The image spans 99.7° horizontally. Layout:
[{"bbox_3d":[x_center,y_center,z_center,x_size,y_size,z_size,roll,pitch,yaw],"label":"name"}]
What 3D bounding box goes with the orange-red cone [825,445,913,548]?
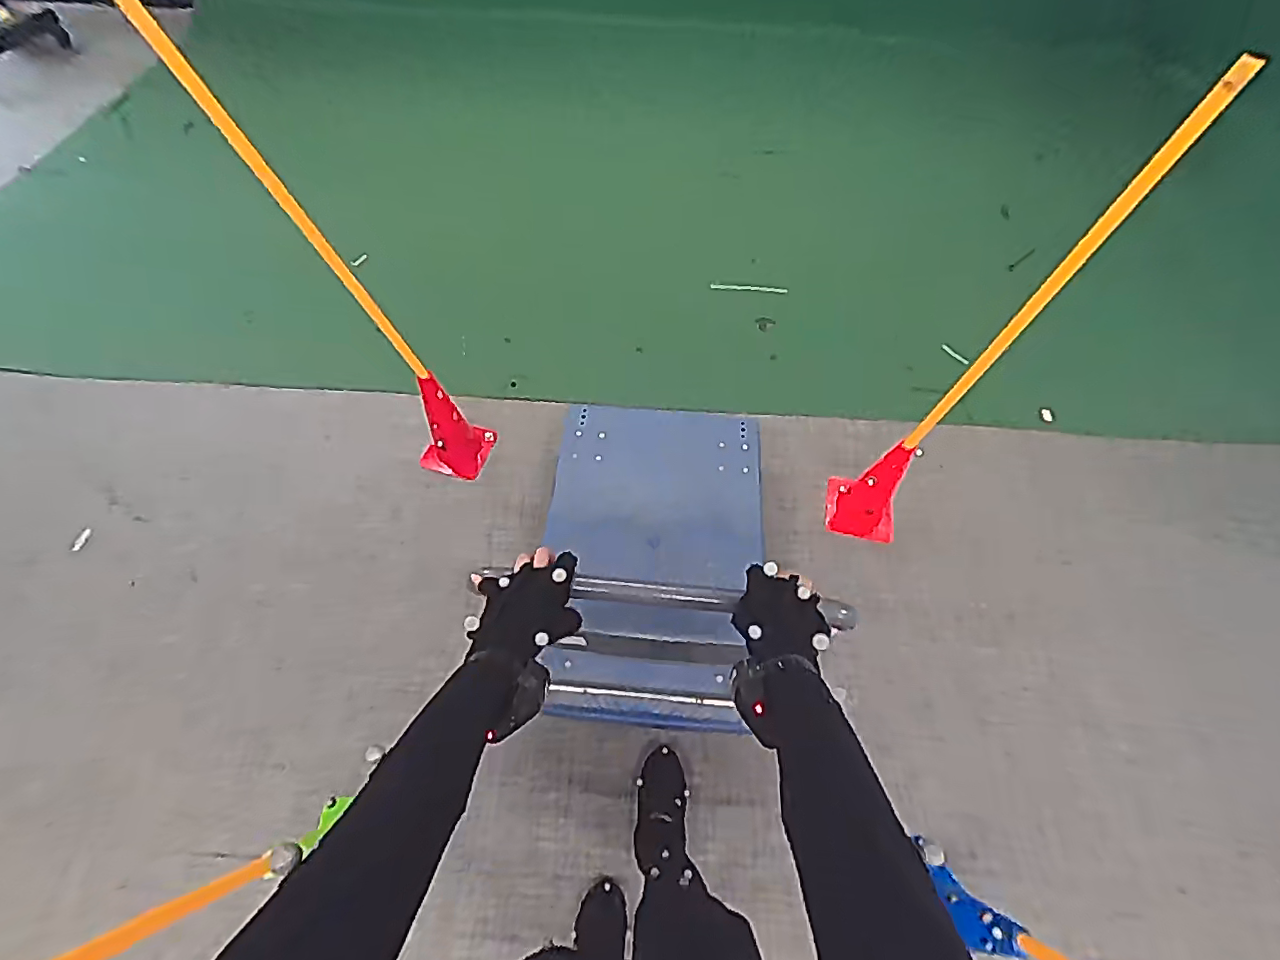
[{"bbox_3d":[0.684,0.019,1.537,0.198,0.360,0.199,13,59,7],"label":"orange-red cone"}]
